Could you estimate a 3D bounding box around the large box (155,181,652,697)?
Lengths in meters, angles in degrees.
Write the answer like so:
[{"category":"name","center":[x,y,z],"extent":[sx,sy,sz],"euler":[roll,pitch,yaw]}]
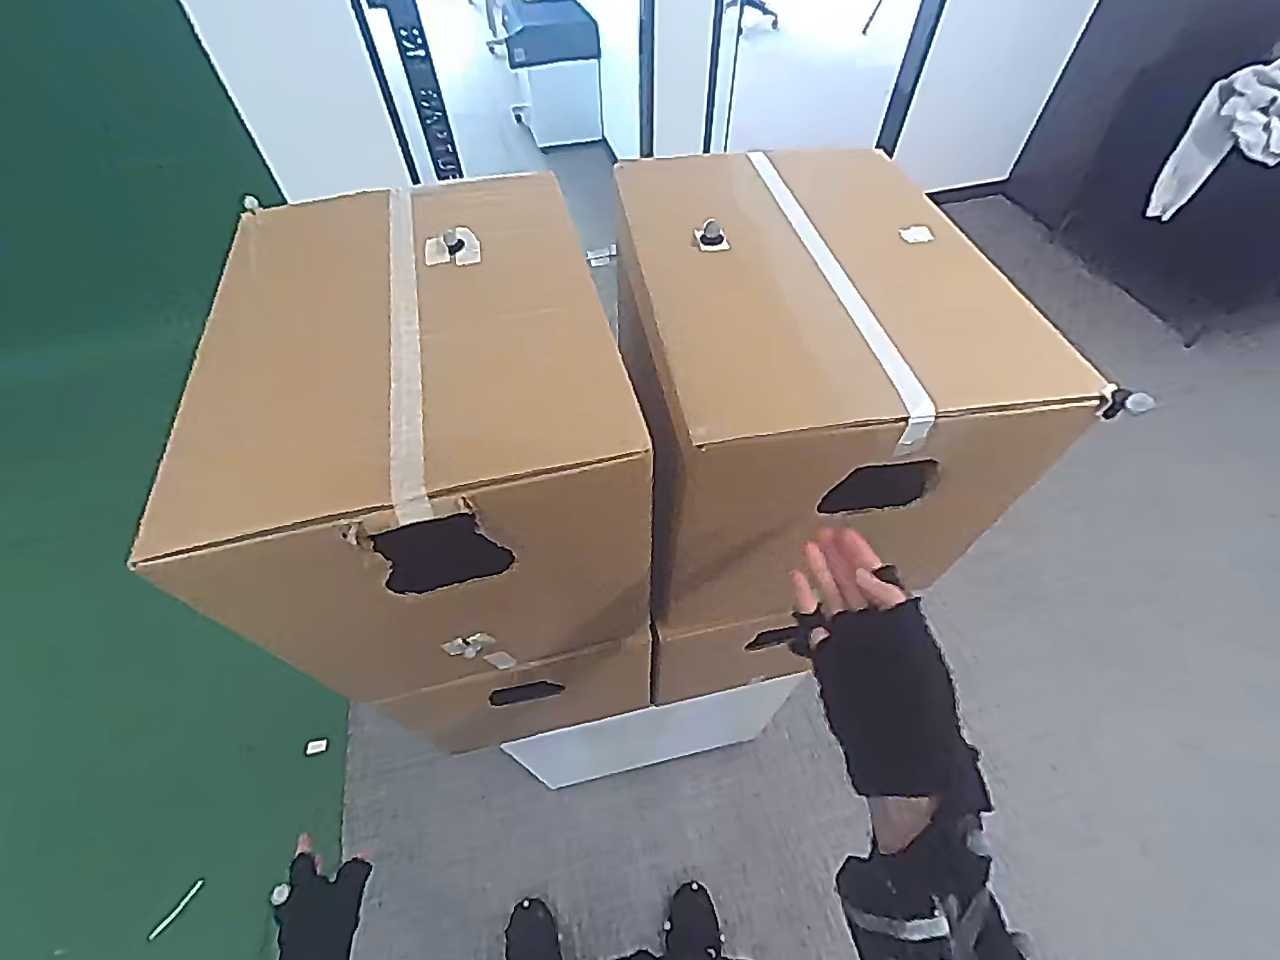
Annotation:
[{"category":"large box","center":[-0.188,-0.049,0.569],"extent":[0.320,0.320,0.408],"euler":[-12,53,-8]}]
